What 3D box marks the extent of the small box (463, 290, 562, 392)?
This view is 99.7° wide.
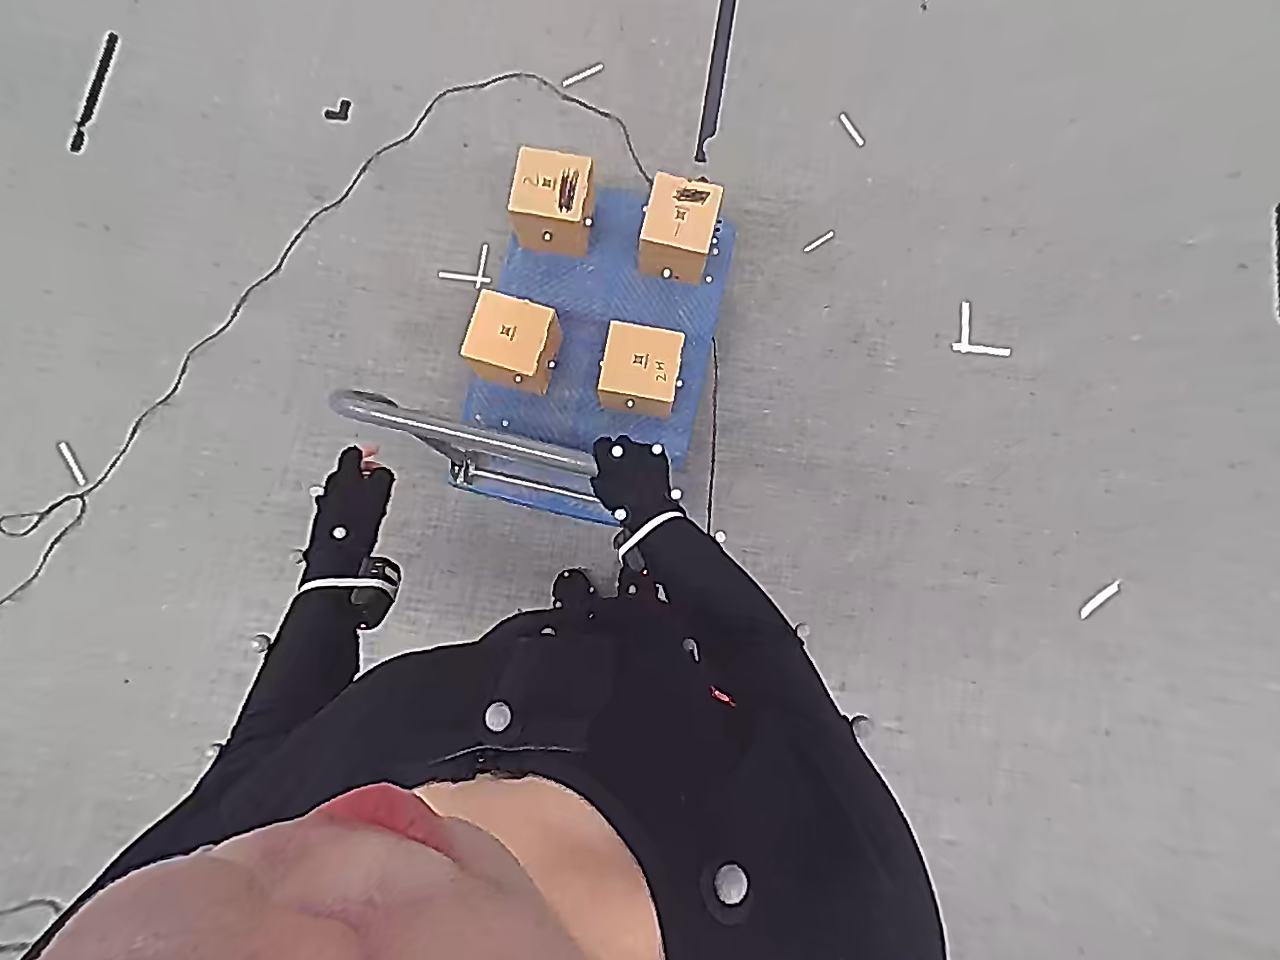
[{"bbox_3d":[-0.298,-0.326,1.302,0.179,0.176,0.168,16,83,-2],"label":"small box"}]

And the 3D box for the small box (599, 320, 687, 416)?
[{"bbox_3d":[0.006,-0.262,1.302,0.179,0.176,0.168,10,84,0],"label":"small box"}]

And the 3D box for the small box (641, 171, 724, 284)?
[{"bbox_3d":[0.099,-0.620,1.345,0.168,0.176,0.179,13,85,0],"label":"small box"}]
